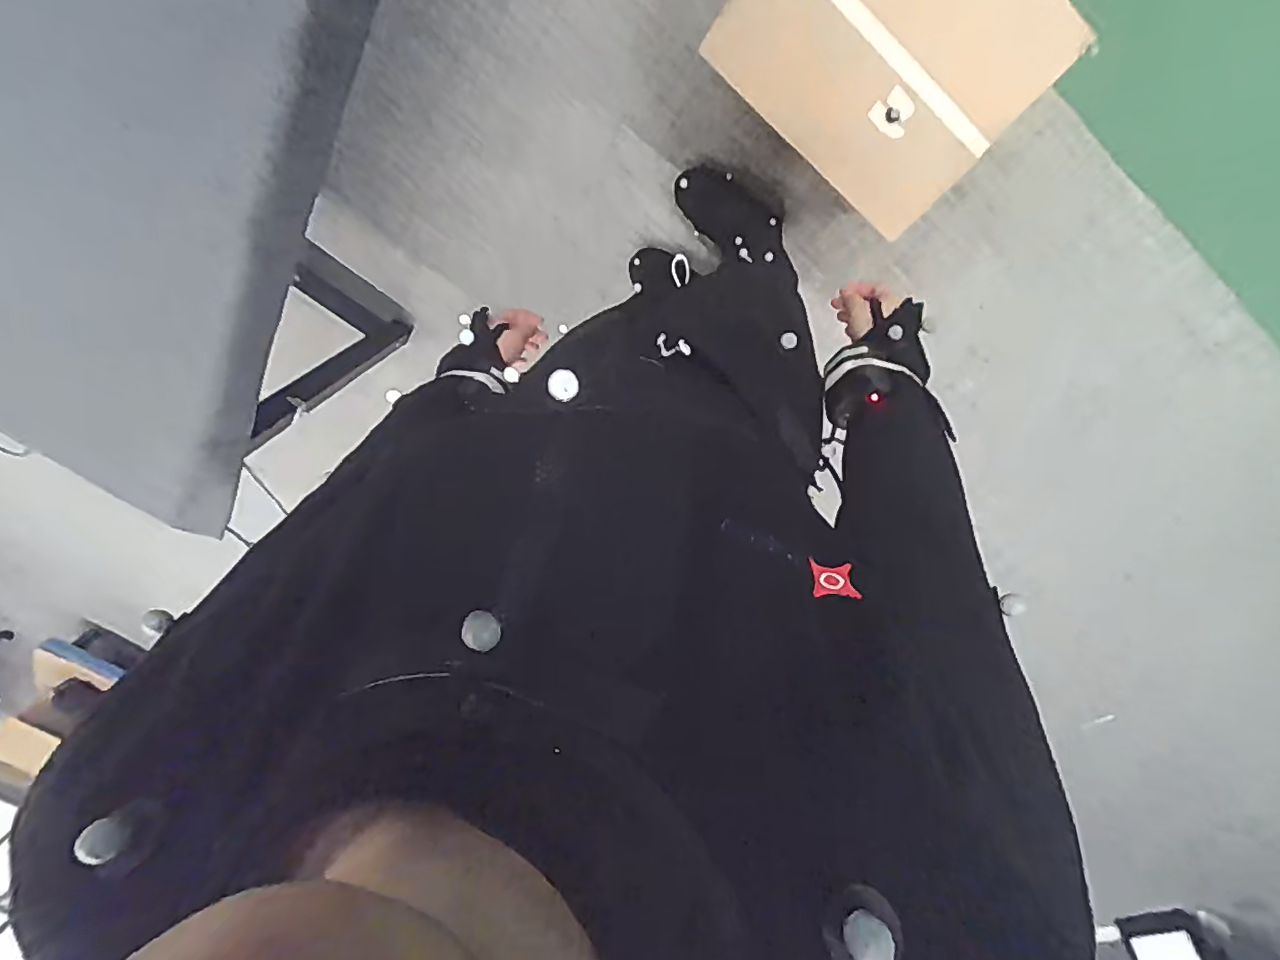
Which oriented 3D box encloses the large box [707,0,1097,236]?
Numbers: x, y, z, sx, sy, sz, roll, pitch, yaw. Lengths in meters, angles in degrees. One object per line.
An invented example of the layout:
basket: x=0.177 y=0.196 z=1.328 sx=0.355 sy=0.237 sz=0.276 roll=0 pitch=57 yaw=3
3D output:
large box: x=0.356 y=-0.662 z=0.840 sx=0.408 sy=0.320 sz=0.320 roll=35 pitch=124 yaw=-14
